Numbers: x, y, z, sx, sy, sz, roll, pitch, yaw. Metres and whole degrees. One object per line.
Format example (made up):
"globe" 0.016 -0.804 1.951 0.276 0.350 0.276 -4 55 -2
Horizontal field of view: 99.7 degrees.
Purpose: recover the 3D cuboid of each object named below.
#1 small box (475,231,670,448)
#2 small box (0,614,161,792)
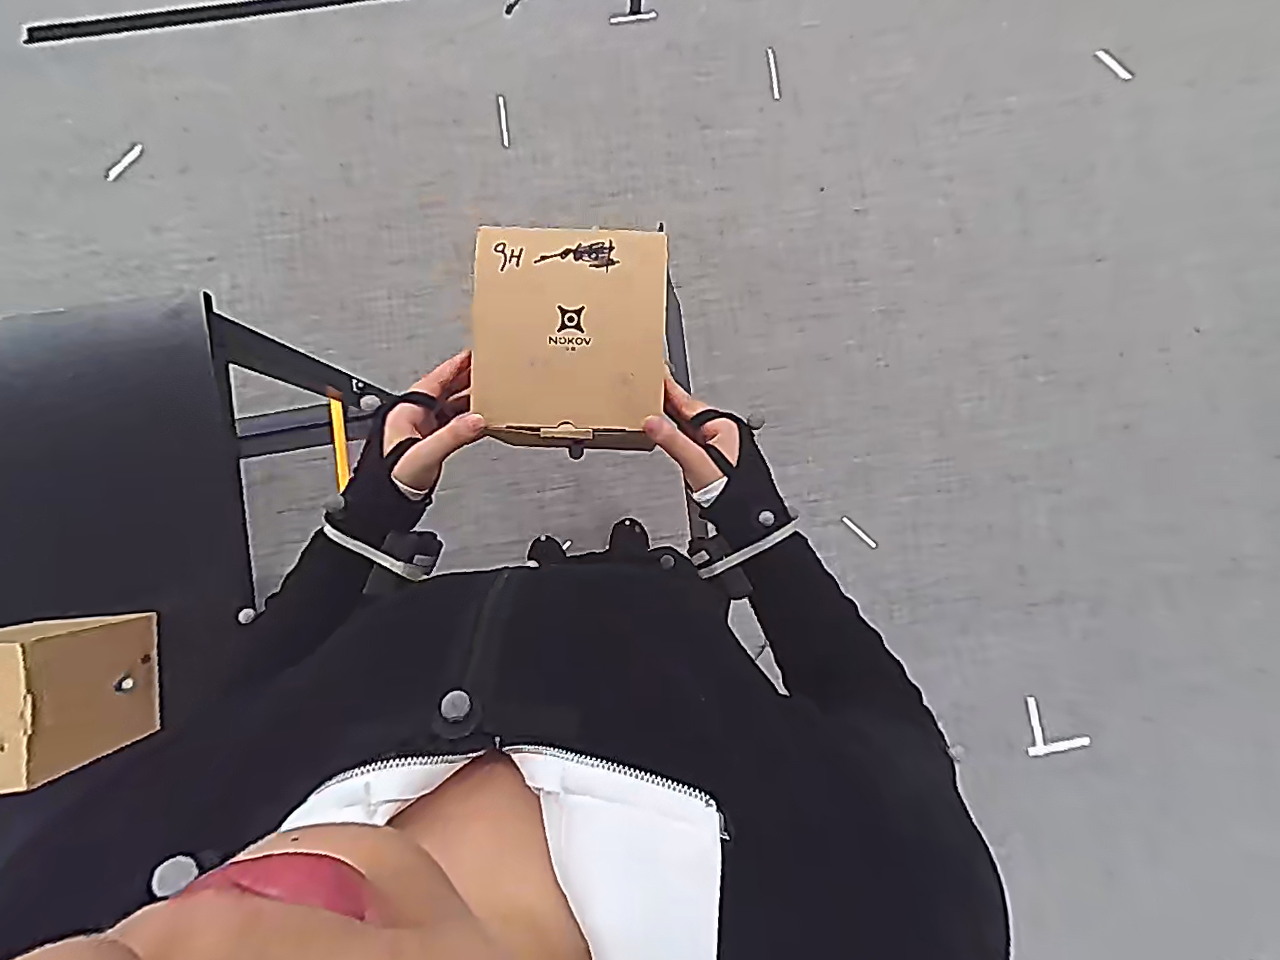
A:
"small box" -0.058 -0.125 0.543 0.168 0.176 0.179 1 89 0
"small box" -0.762 0.271 0.680 0.179 0.176 0.168 -4 88 -1
